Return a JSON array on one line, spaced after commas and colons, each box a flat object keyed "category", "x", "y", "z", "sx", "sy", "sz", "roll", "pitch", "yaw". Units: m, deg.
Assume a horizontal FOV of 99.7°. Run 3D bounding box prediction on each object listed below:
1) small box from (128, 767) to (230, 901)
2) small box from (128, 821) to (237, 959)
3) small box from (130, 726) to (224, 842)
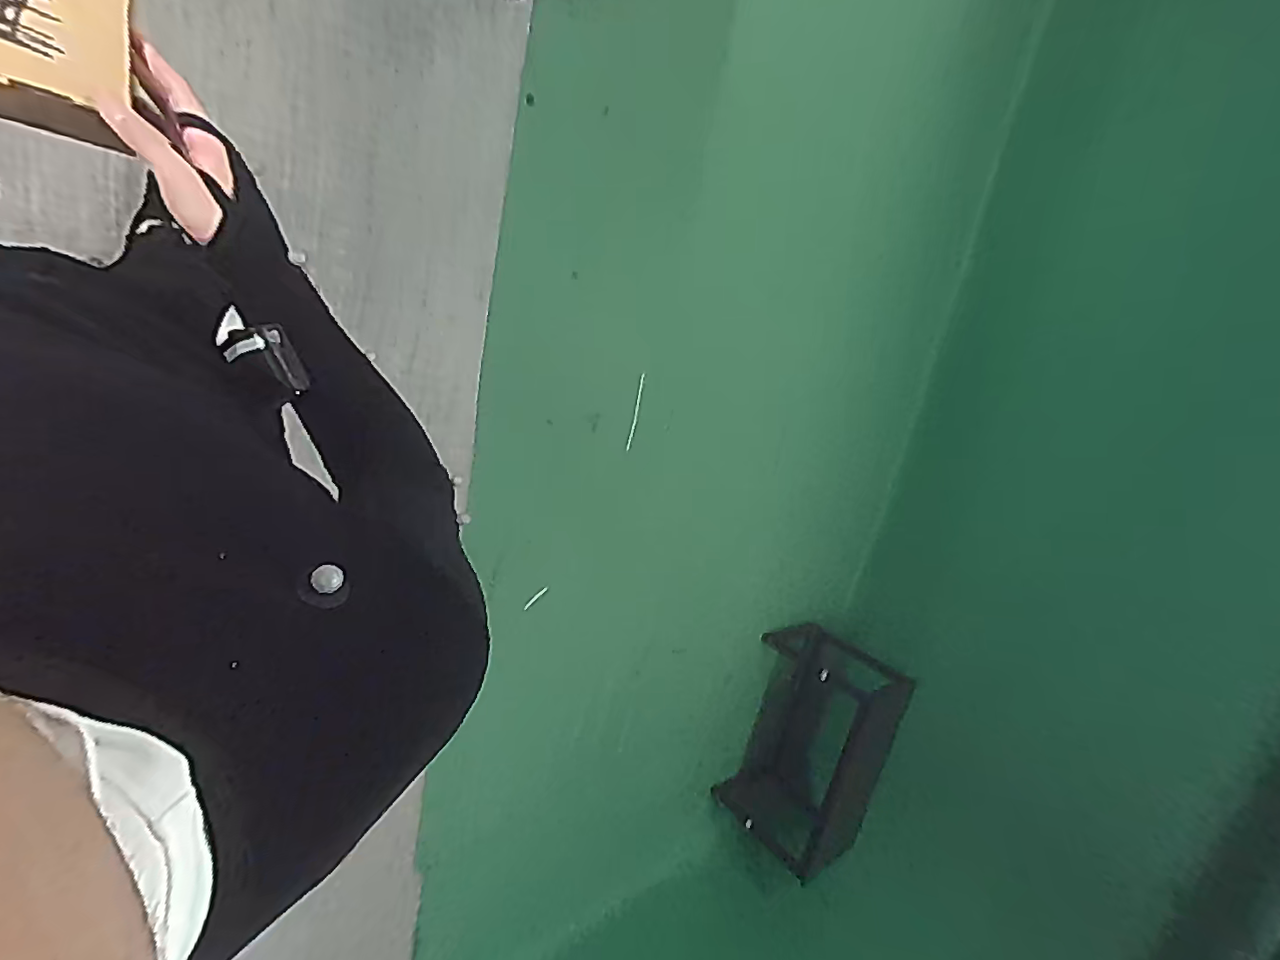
[{"category": "small box", "x": -1.085, "y": 0.823, "z": 1.274, "sx": 0.168, "sy": 0.176, "sz": 0.179, "roll": 5, "pitch": 106, "yaw": -43}, {"category": "small box", "x": -0.980, "y": 0.873, "z": 1.157, "sx": 0.168, "sy": 0.176, "sz": 0.179, "roll": 2, "pitch": 108, "yaw": -42}, {"category": "small box", "x": -1.188, "y": 0.773, "z": 1.388, "sx": 0.168, "sy": 0.176, "sz": 0.179, "roll": 5, "pitch": 107, "yaw": -43}]
